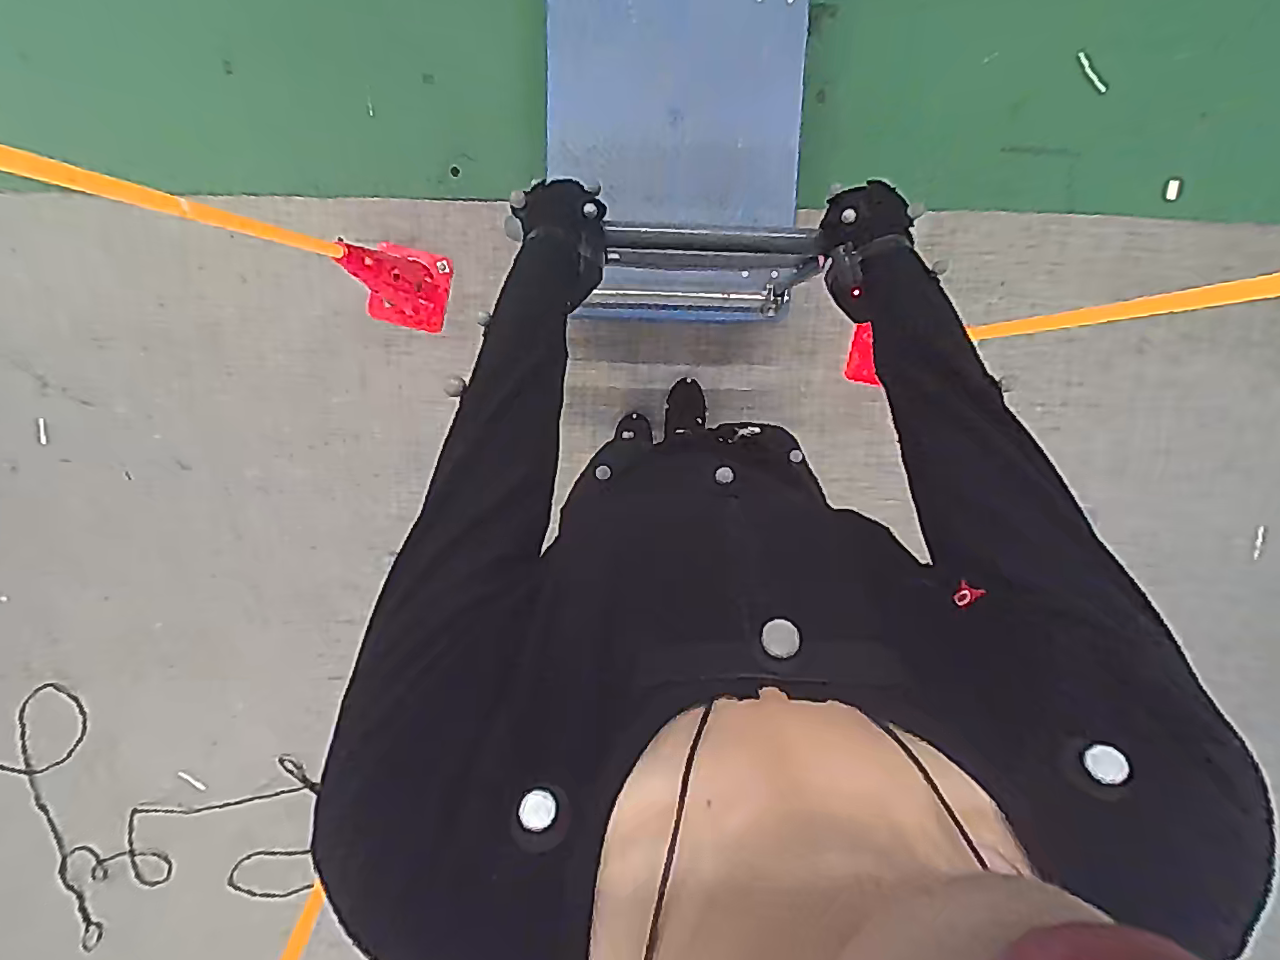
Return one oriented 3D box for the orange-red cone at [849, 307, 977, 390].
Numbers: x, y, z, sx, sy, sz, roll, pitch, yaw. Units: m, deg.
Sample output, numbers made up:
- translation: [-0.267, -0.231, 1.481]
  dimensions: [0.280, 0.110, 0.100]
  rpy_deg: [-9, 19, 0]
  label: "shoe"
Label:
- translation: [0.679, -0.329, 1.291]
  dimensions: [0.198, 0.360, 0.199]
  rpy_deg: [12, 98, -2]
  label: "orange-red cone"
